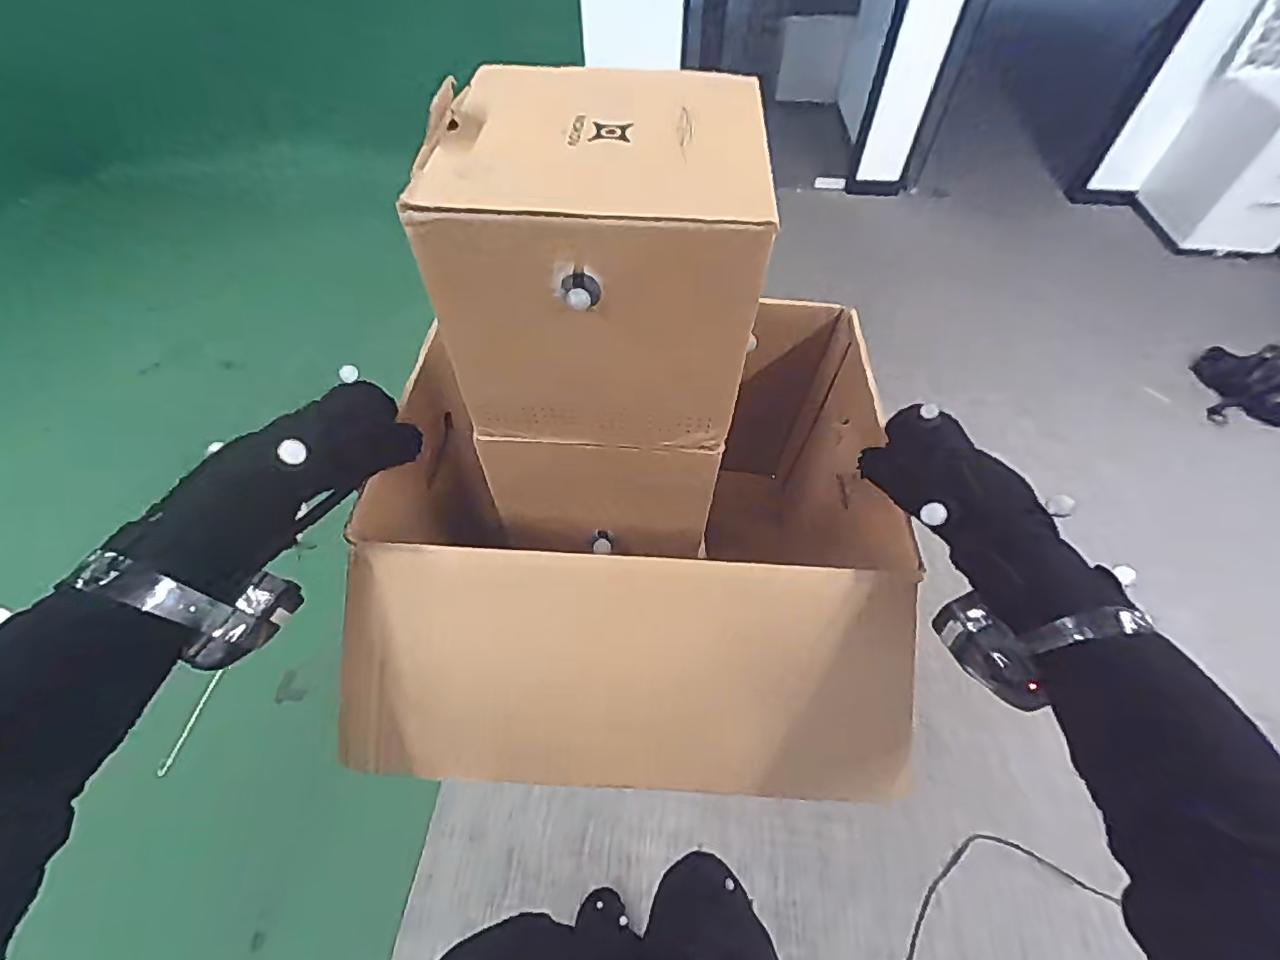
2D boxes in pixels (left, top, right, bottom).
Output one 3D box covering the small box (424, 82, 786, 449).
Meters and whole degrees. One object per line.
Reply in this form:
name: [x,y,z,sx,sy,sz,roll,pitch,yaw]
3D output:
small box: [-0.015,-0.136,0.365,0.179,0.176,0.168,4,56,0]
